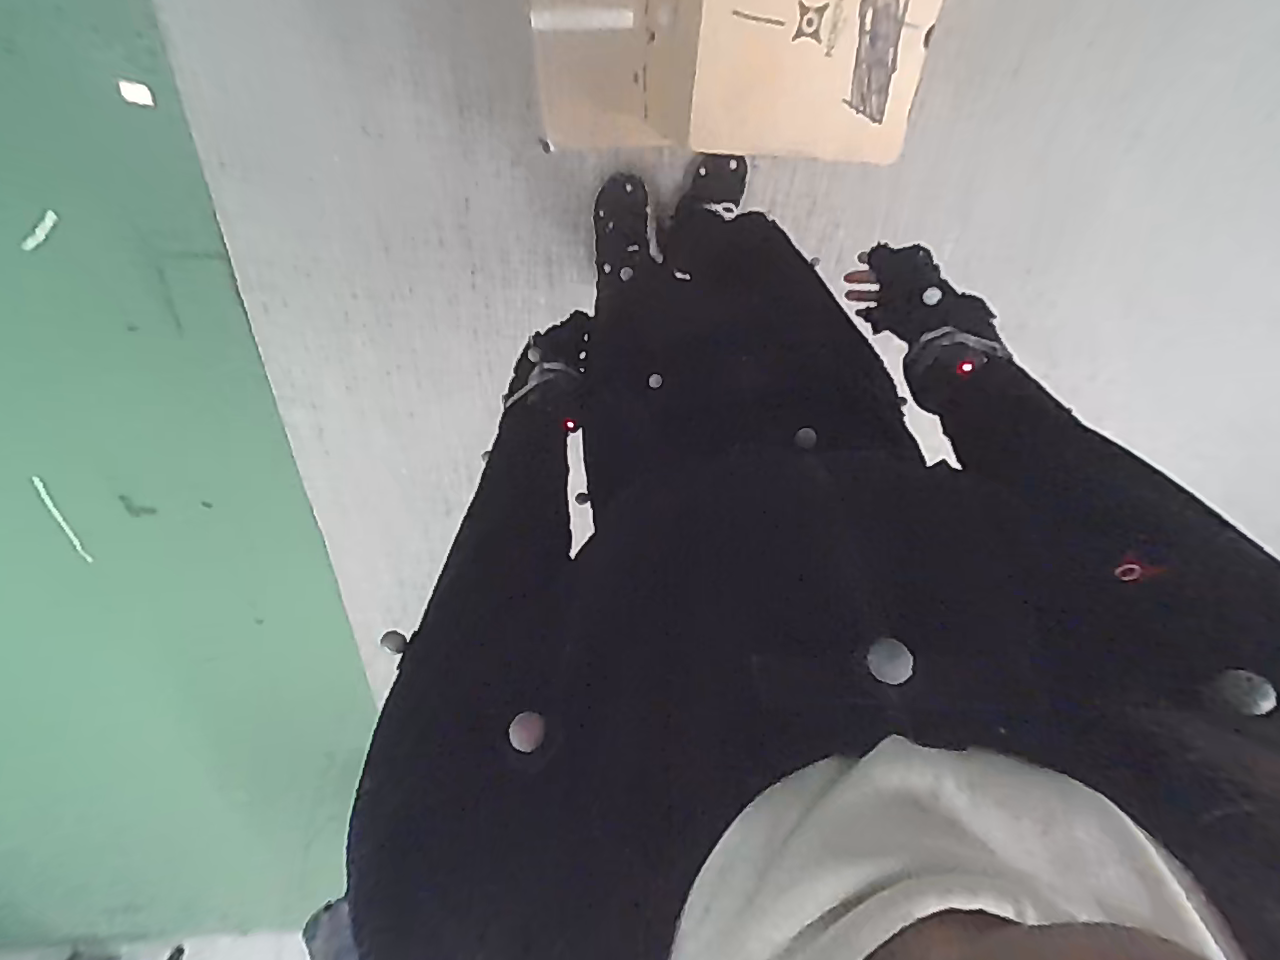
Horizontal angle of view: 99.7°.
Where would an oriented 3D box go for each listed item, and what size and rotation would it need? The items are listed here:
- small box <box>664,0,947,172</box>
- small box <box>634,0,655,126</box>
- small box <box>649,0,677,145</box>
[{"bbox_3d":[0.122,-0.367,0.449,0.179,0.176,0.168,1,126,-6],"label":"small box"},{"bbox_3d":[0.085,-0.563,0.710,0.179,0.176,0.168,-2,128,-6],"label":"small box"},{"bbox_3d":[0.100,-0.469,0.577,0.168,0.176,0.179,-2,128,-5],"label":"small box"}]
